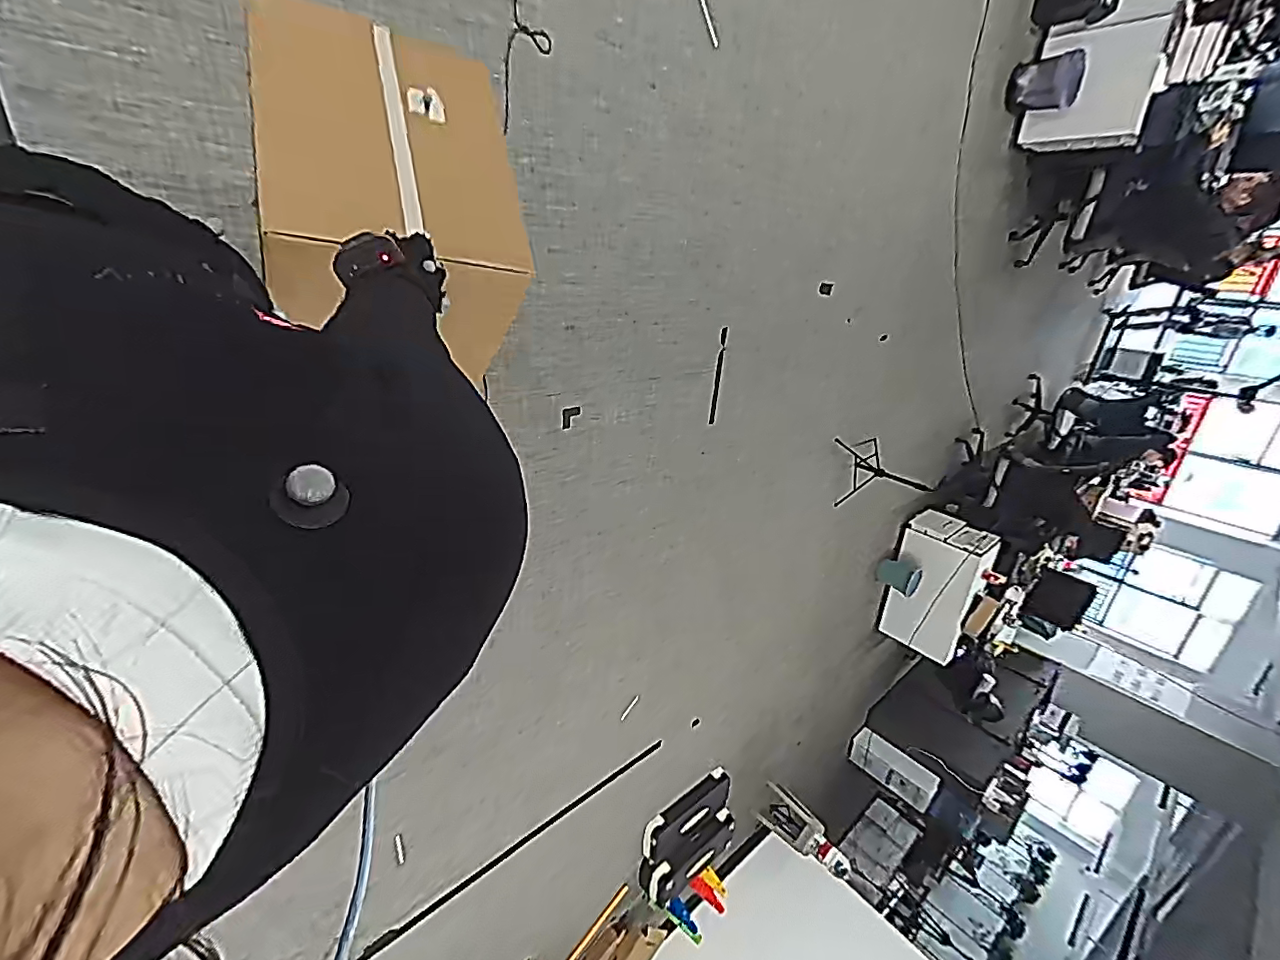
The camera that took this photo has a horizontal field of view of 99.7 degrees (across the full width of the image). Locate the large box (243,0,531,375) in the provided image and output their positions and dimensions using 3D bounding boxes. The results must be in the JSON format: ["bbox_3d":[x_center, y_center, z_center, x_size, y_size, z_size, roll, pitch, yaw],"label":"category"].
[{"bbox_3d":[-0.402,-0.413,0.841,0.320,0.320,0.408,-4,71,-35],"label":"large box"}]
